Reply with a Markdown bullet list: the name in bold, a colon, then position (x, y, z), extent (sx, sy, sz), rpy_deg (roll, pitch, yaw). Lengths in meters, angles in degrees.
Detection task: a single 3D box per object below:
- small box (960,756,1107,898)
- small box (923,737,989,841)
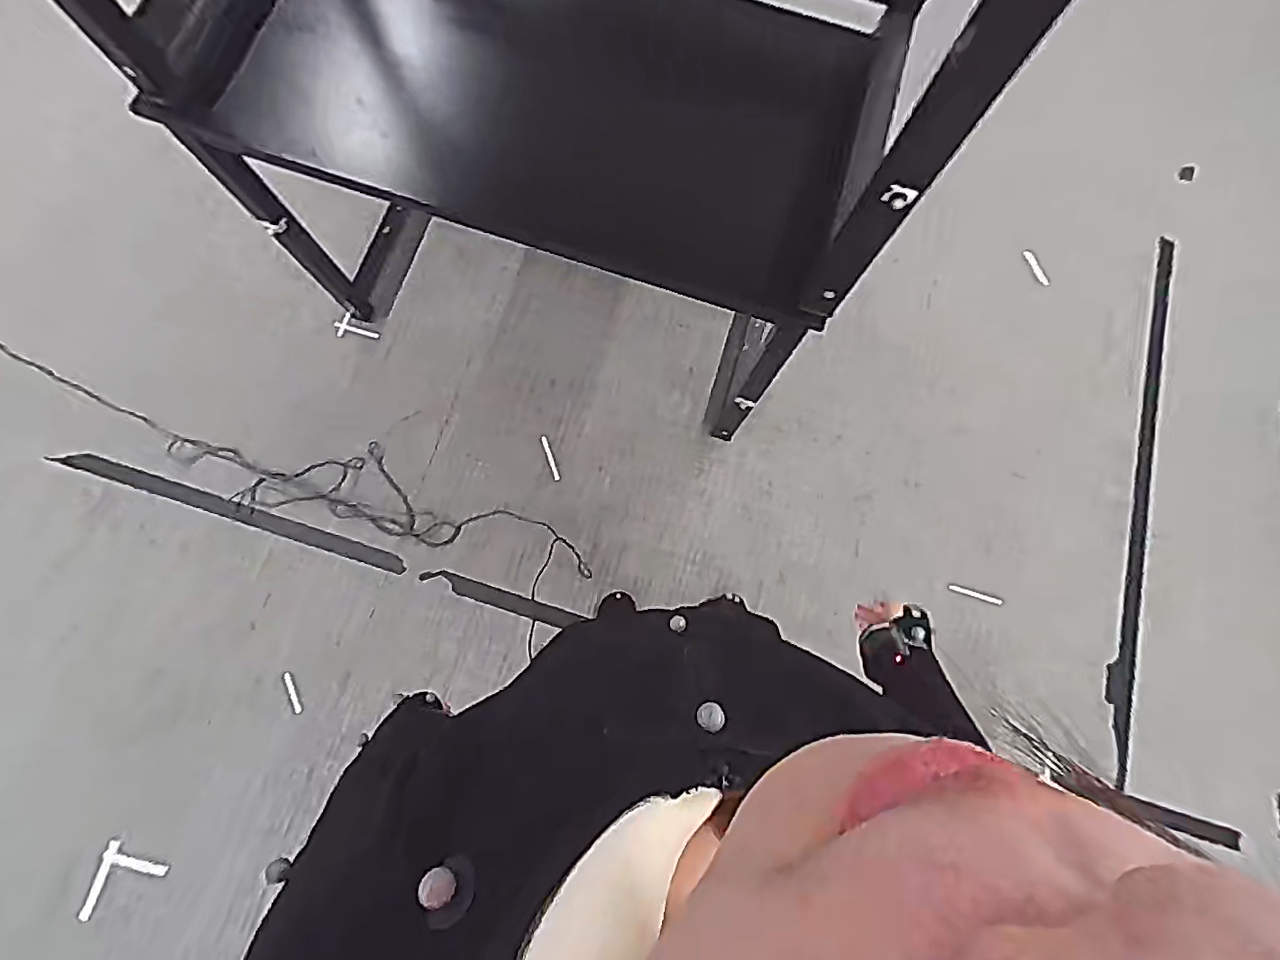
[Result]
- **small box**: position (0.852, 0.745, 1.188), extent (0.168, 0.176, 0.179), rpy_deg (35, 79, 5)
- **small box**: position (0.841, 0.778, 1.350), extent (0.168, 0.176, 0.179), rpy_deg (23, 80, 2)
